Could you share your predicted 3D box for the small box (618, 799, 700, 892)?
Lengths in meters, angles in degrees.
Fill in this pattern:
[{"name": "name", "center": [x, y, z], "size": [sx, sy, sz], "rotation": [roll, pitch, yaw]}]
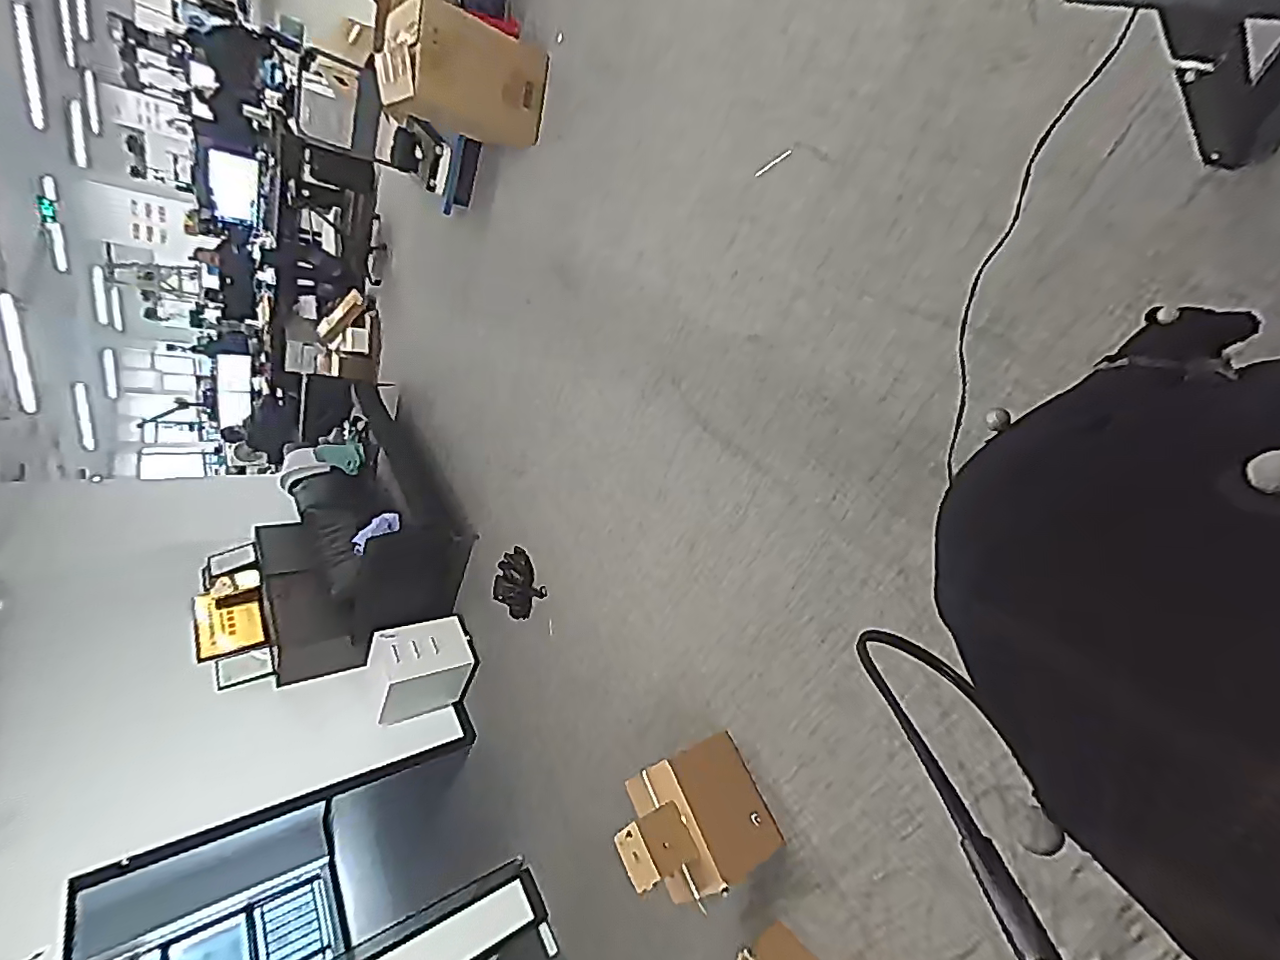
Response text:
[{"name": "small box", "center": [0.064, 1.193, 1.773], "size": [0.179, 0.176, 0.168], "rotation": [55, 130, 31]}]
